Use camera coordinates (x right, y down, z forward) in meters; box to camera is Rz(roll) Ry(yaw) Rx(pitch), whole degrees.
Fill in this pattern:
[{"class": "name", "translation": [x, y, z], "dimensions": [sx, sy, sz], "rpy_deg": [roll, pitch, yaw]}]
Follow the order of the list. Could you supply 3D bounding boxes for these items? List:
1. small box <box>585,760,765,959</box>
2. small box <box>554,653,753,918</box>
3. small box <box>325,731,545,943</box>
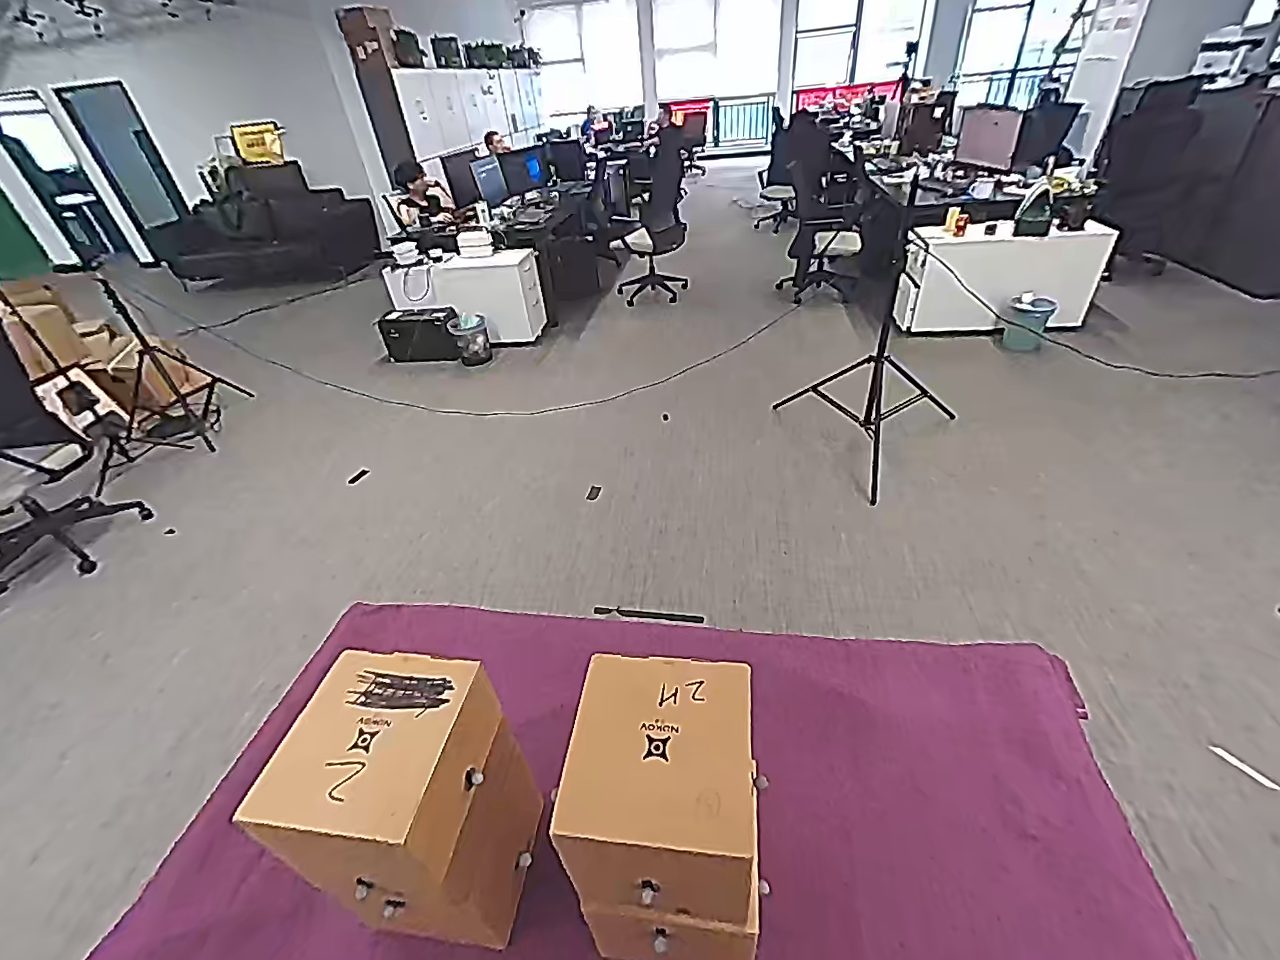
[{"class": "small box", "translation": [0.050, 0.439, 0.631], "dimensions": [0.179, 0.176, 0.168], "rpy_deg": [0, 37, 10]}, {"class": "small box", "translation": [0.029, 0.302, 0.541], "dimensions": [0.168, 0.176, 0.179], "rpy_deg": [1, 37, 10]}, {"class": "small box", "translation": [-0.234, 0.439, 0.670], "dimensions": [0.179, 0.176, 0.168], "rpy_deg": [1, 37, 9]}]
